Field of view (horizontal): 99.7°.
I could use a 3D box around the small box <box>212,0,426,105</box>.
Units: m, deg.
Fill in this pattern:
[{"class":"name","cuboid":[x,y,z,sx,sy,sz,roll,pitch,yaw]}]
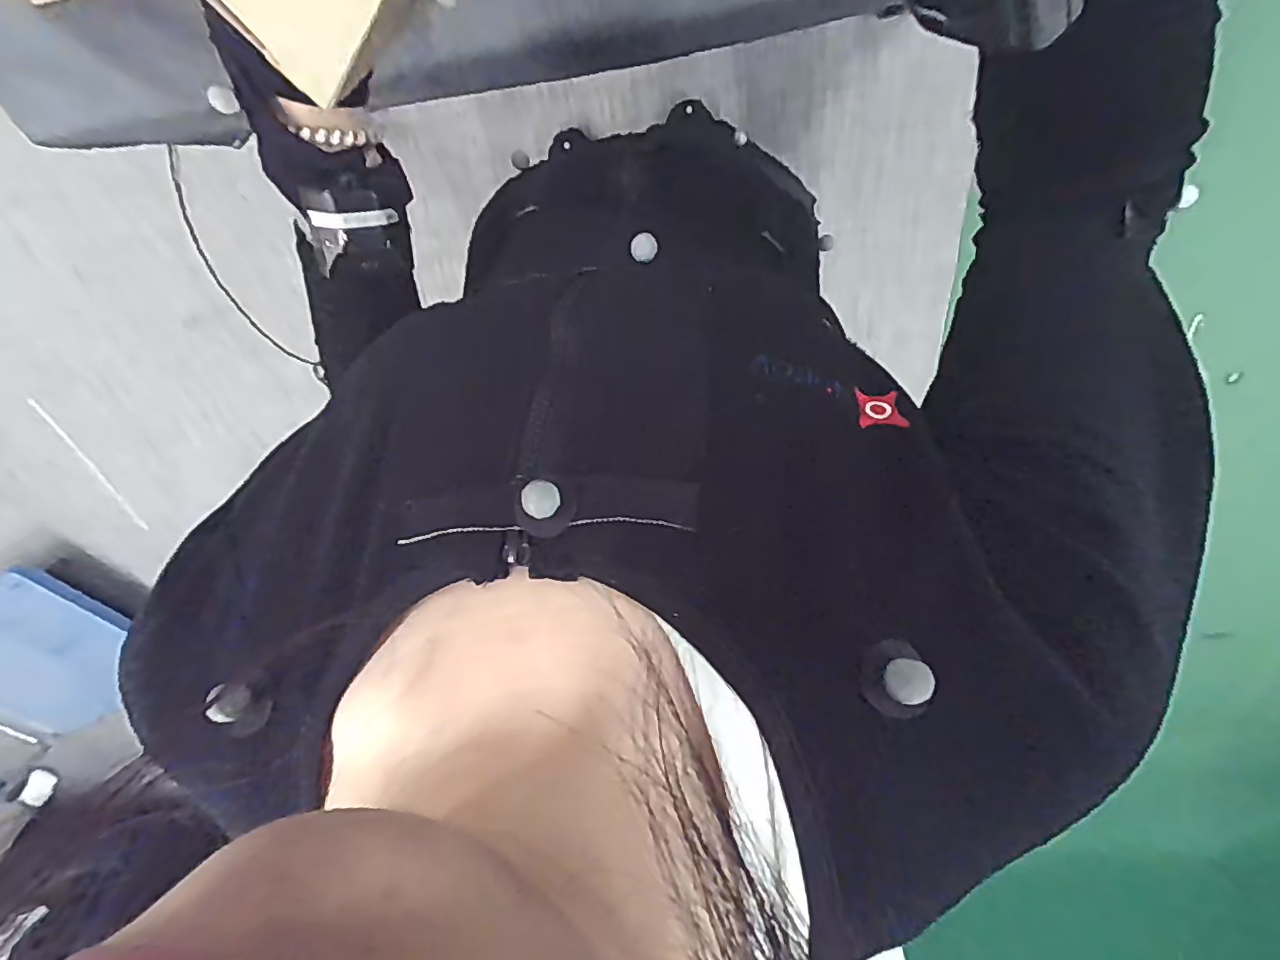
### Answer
[{"class":"small box","cuboid":[-0.109,-0.285,0.175,0.179,0.176,0.168,3,152,47]}]
